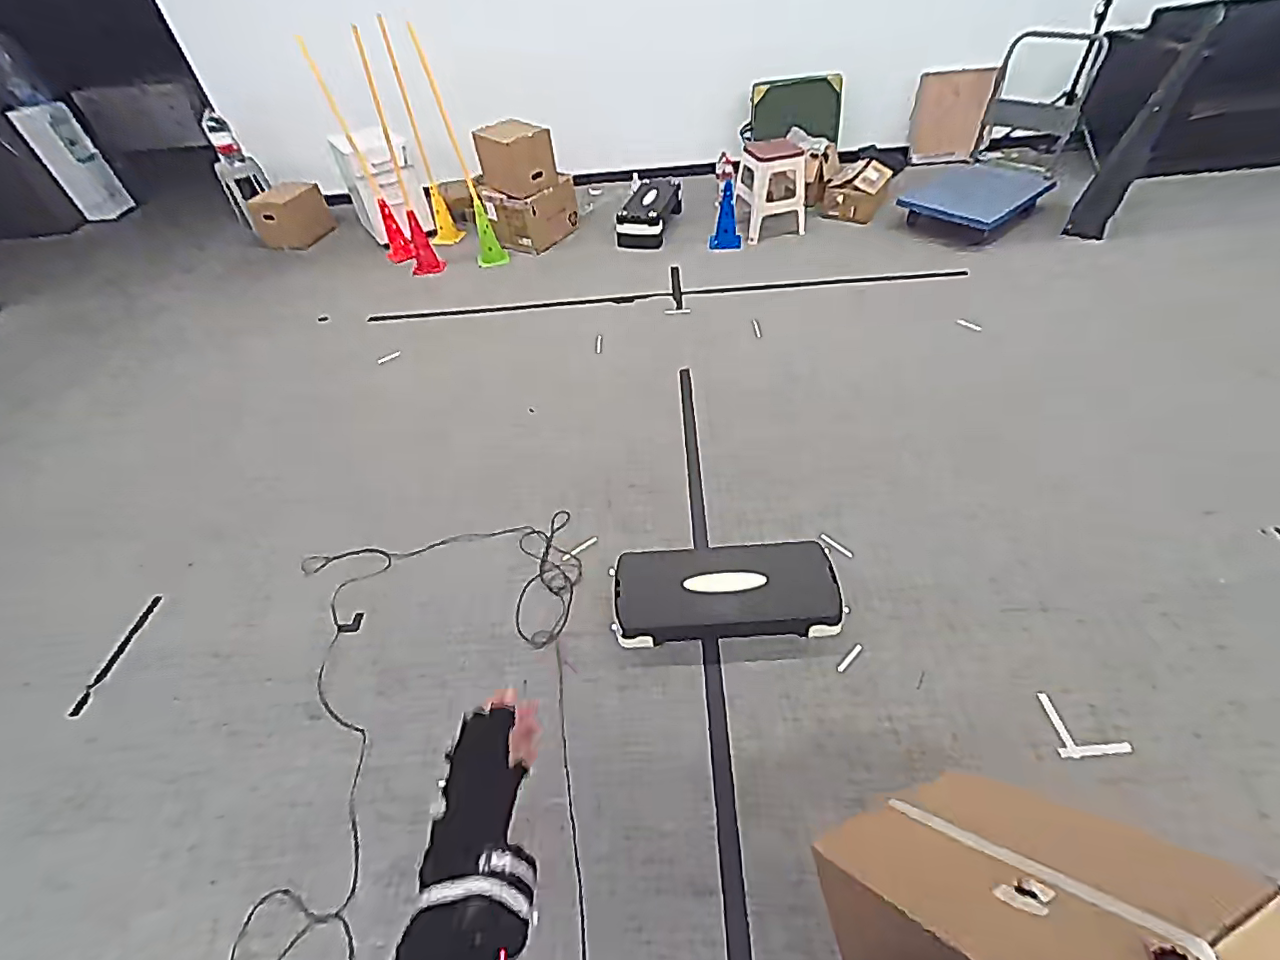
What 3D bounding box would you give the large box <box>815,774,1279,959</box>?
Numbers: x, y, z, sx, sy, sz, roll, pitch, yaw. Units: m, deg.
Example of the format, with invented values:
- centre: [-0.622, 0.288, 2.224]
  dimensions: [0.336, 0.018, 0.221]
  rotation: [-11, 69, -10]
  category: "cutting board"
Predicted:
- centre: [0.488, 0.620, 0.652]
  dimensions: [0.320, 0.408, 0.320]
  rotation: [-11, 82, -18]
  category: "large box"
